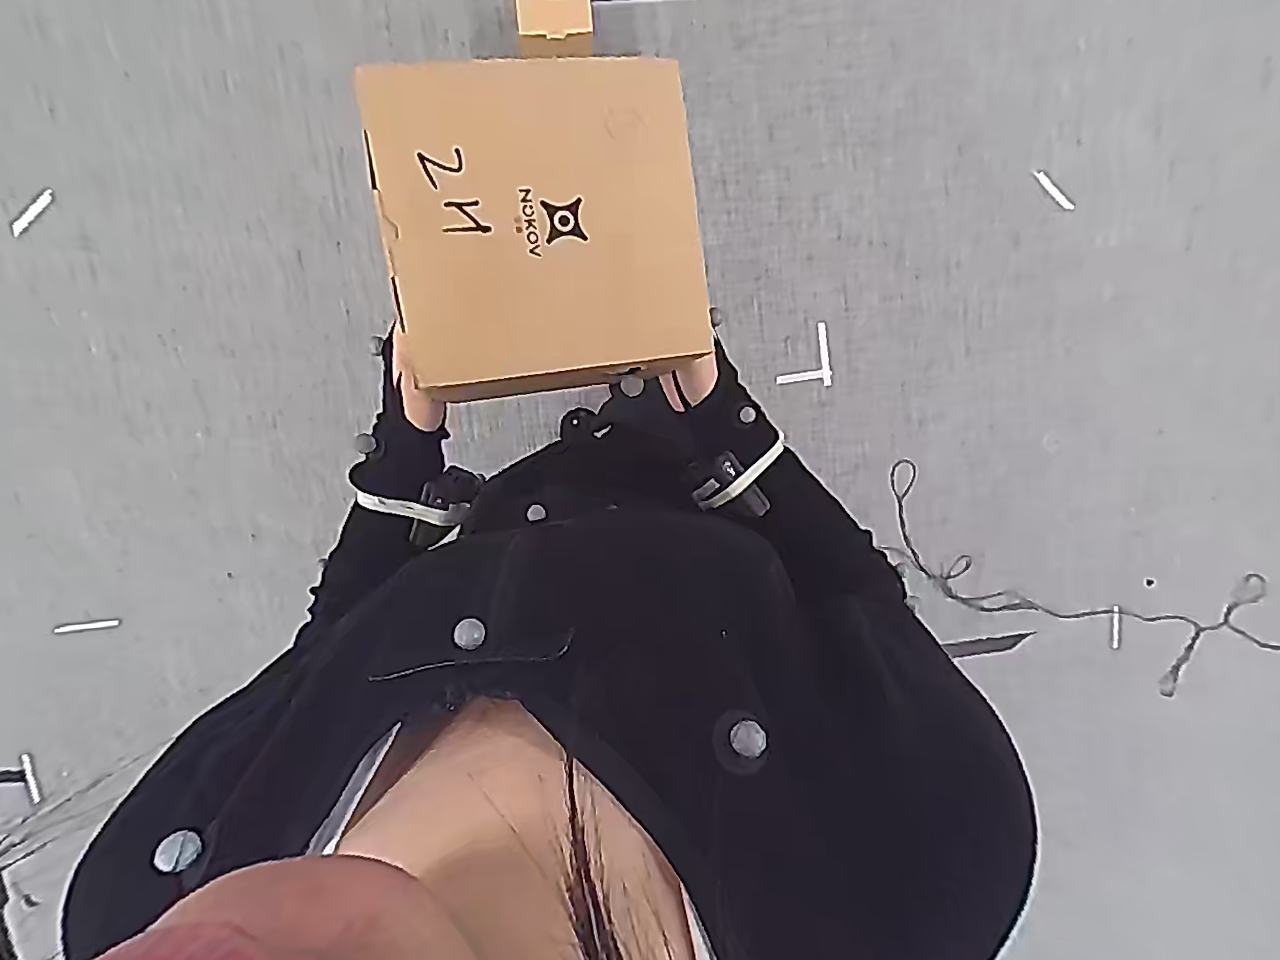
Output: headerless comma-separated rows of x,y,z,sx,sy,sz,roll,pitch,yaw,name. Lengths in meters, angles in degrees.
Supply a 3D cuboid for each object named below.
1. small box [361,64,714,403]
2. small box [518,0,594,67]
-0.066,-0.148,0.377,0.179,0.176,0.168,-10,97,-11,small box
-0.194,-1.070,1.268,0.168,0.176,0.179,-5,98,-5,small box
